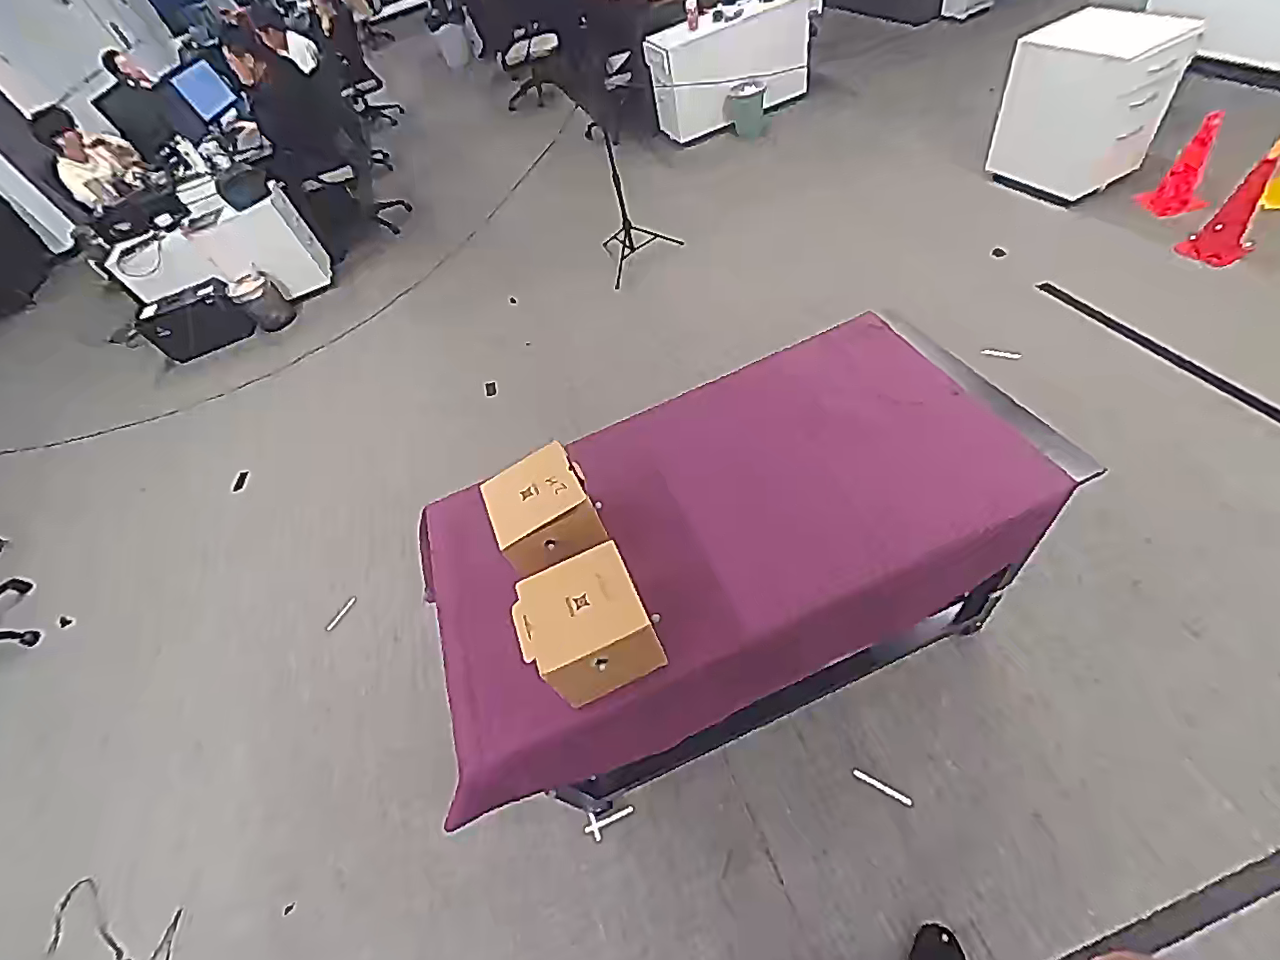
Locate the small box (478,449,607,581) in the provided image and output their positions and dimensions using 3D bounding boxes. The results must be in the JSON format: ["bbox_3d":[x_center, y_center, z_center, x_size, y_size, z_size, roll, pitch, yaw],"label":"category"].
[{"bbox_3d":[-0.180,0.079,1.033,0.179,0.176,0.168,-26,51,-6],"label":"small box"}]

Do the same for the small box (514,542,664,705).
[{"bbox_3d":[-0.080,0.239,0.882,0.179,0.176,0.168,-24,51,-5],"label":"small box"}]
